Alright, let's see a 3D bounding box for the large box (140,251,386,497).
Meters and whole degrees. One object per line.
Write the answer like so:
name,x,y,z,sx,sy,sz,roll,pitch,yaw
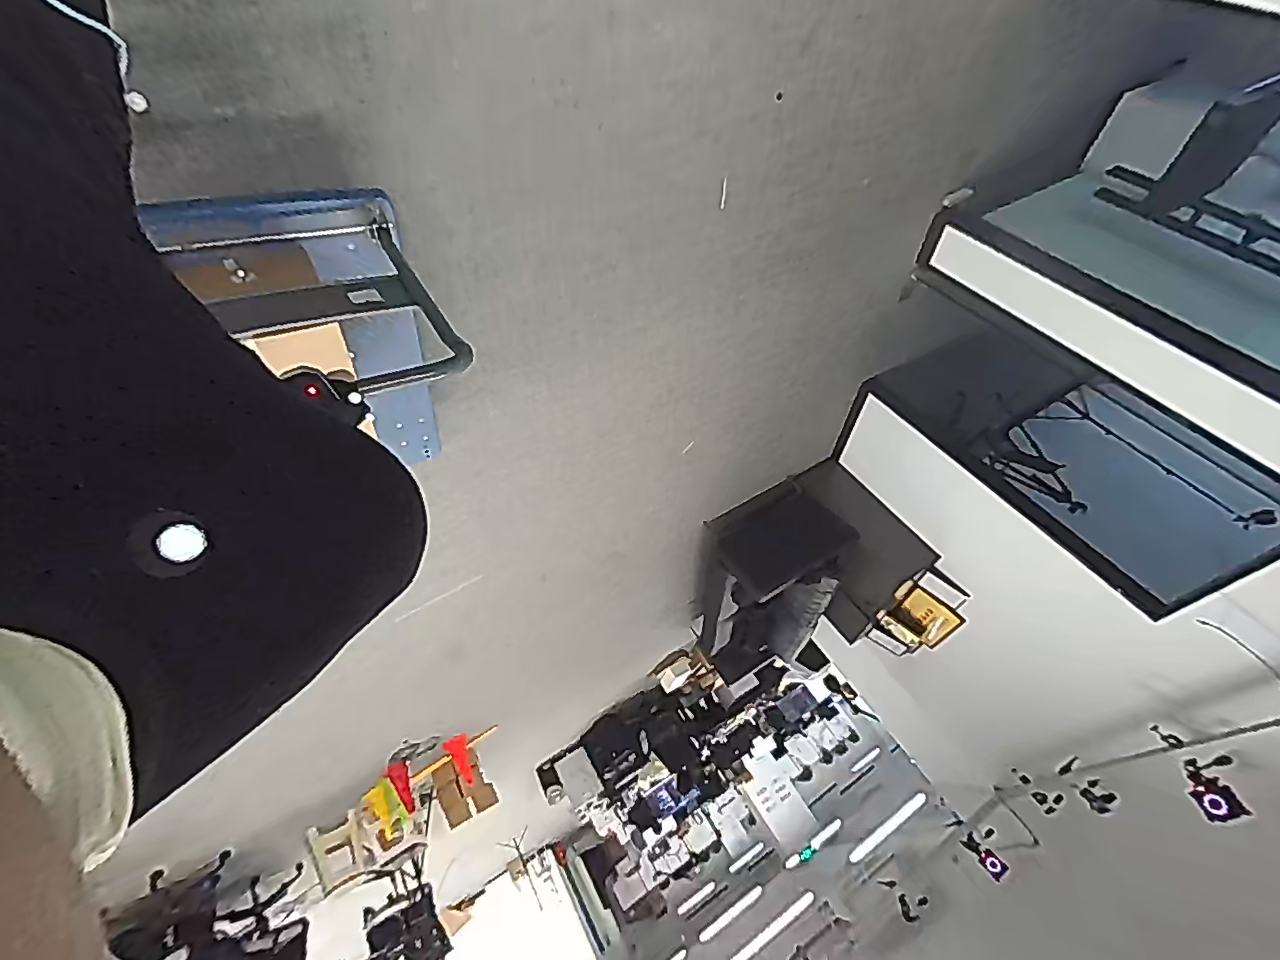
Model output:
large box,-0.828,-0.240,1.228,0.320,0.320,0.408,-22,146,-25
